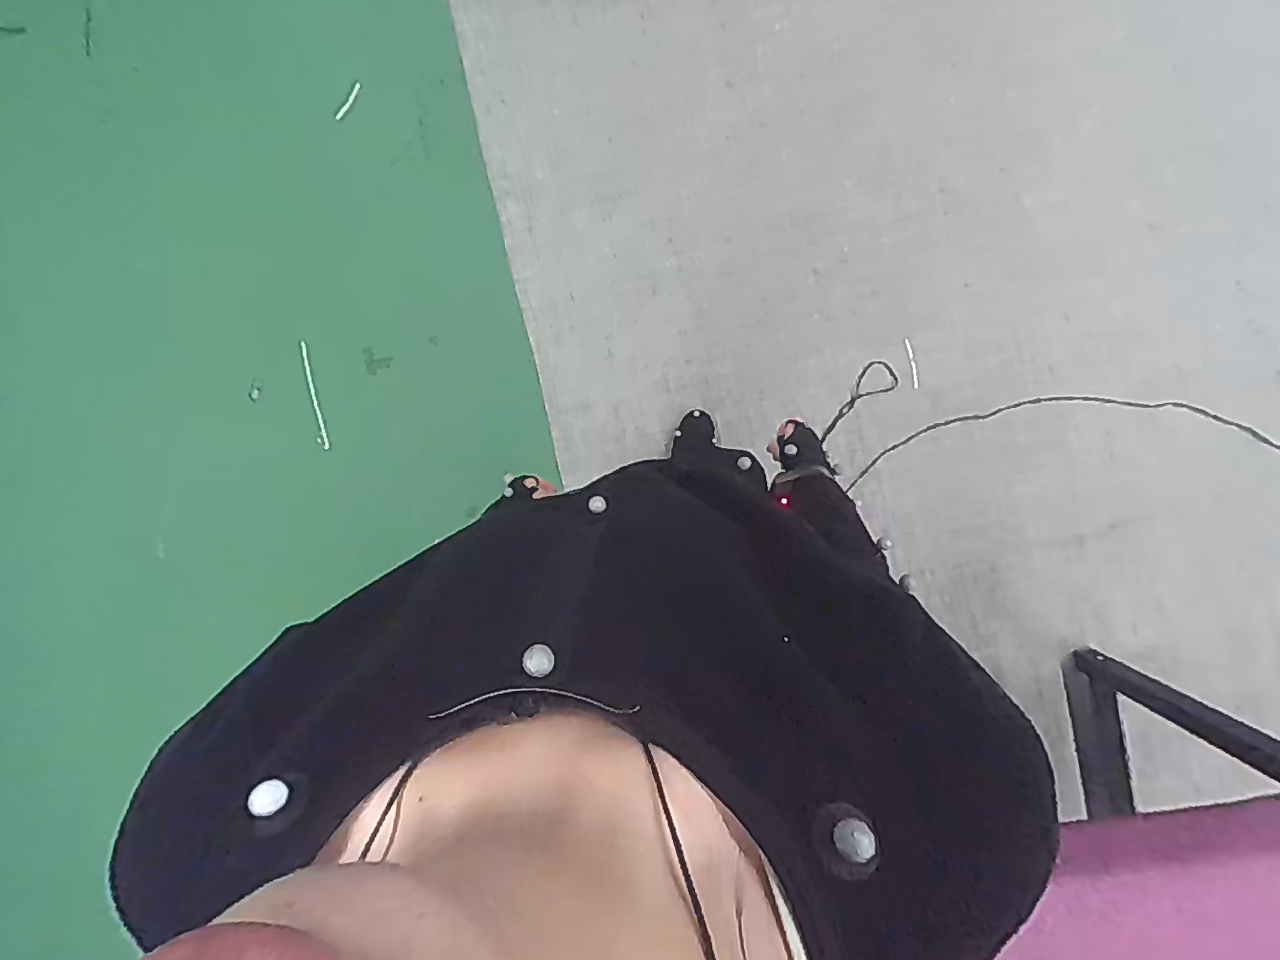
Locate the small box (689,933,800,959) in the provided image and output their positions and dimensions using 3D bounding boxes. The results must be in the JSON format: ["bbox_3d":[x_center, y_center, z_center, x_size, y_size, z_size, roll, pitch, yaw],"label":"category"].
[{"bbox_3d":[0.154,0.767,0.727,0.179,0.176,0.168,-15,92,5],"label":"small box"}]
